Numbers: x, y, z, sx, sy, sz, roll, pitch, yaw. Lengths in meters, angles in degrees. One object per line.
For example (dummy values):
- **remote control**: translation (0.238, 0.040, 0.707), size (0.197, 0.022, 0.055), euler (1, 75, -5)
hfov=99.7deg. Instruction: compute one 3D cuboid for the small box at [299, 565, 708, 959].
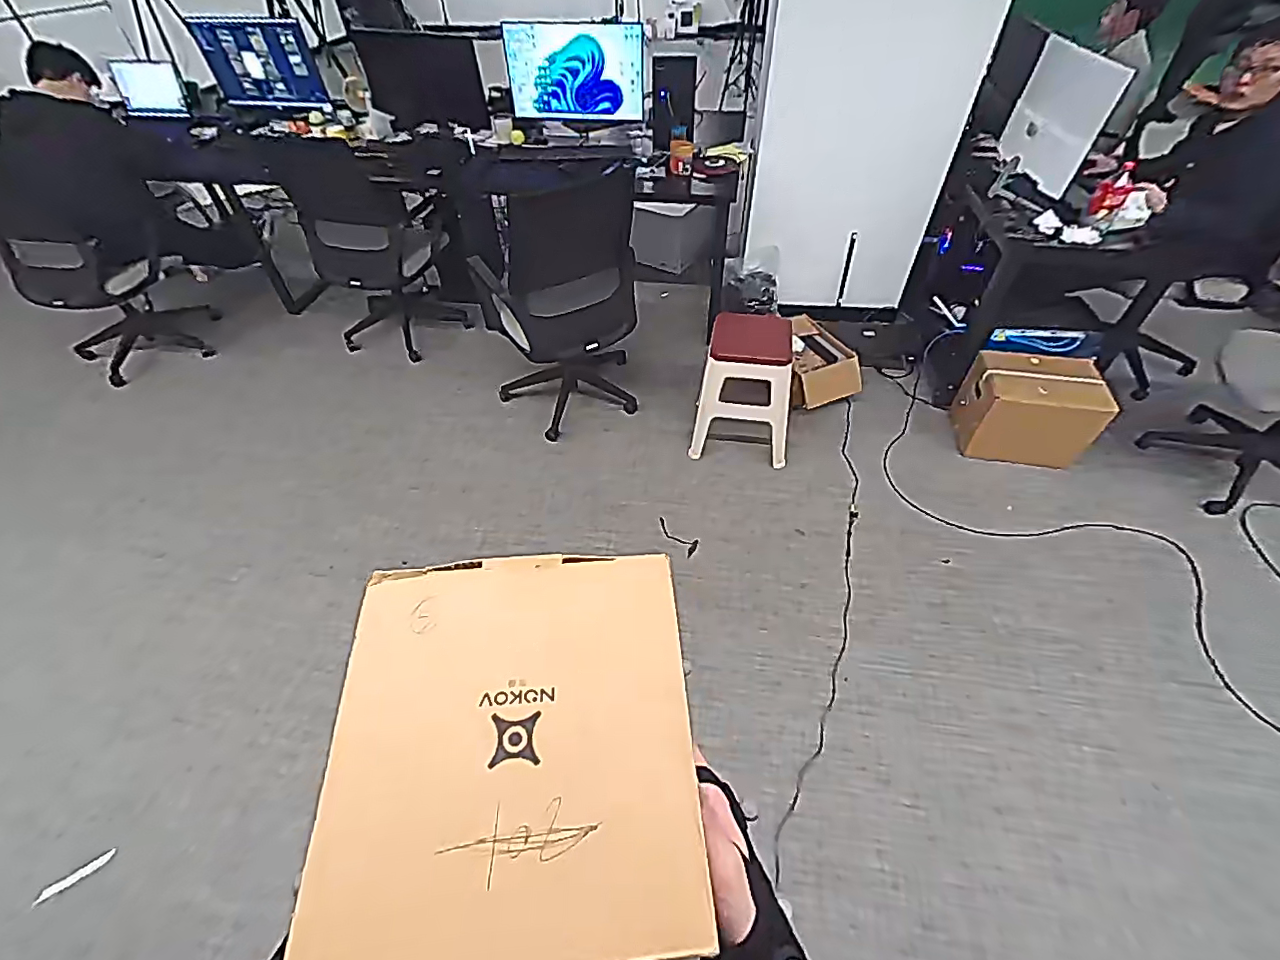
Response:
- **small box**: translation (-0.062, 0.169, 0.329), size (0.168, 0.176, 0.179), euler (-2, 55, -5)
